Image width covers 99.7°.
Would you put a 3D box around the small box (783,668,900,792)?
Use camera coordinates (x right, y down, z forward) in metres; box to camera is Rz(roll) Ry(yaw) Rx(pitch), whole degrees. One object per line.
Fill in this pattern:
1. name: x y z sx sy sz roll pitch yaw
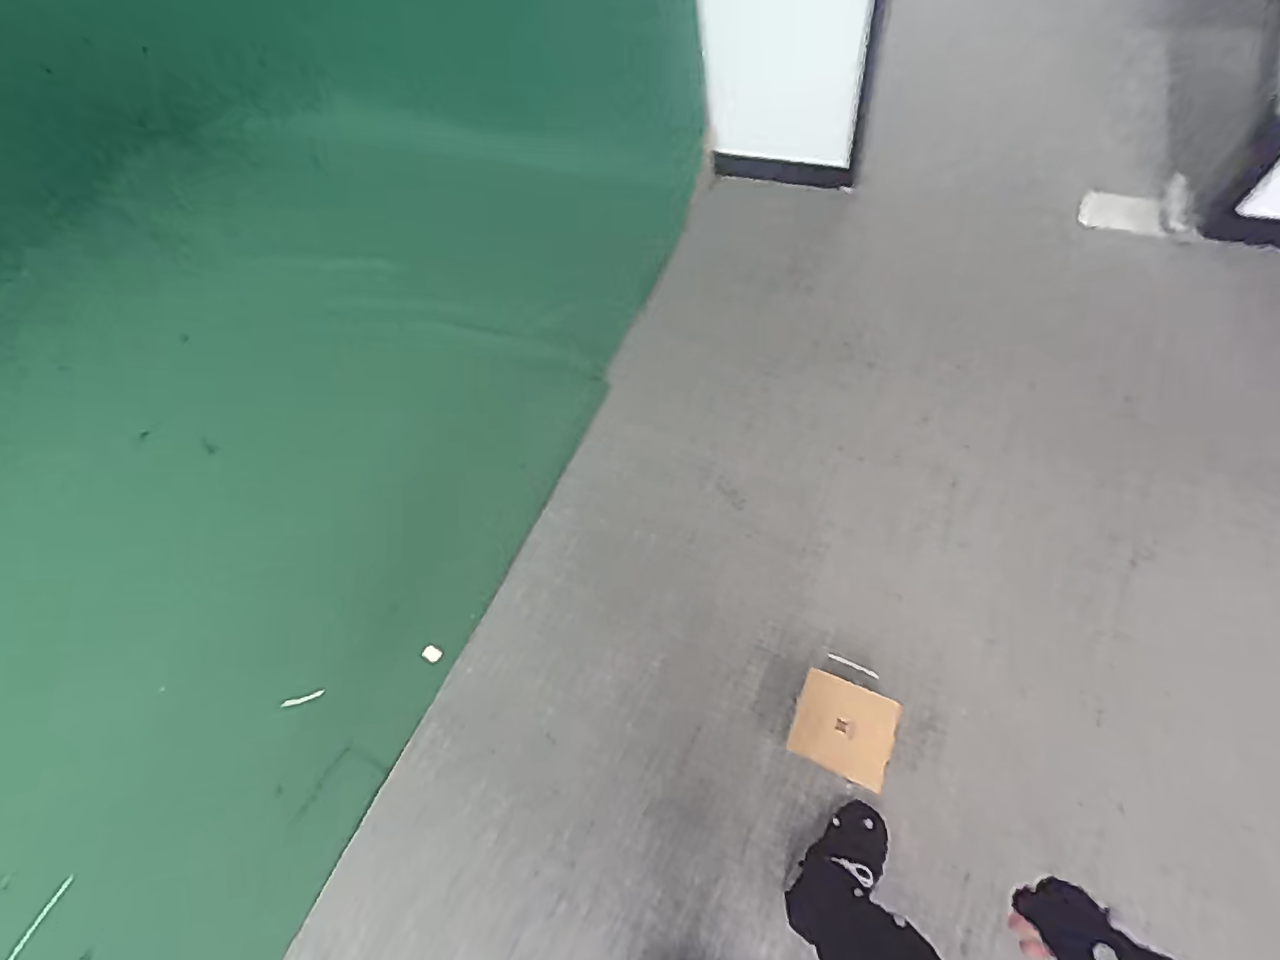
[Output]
1. small box: 0.400 0.501 1.095 0.179 0.176 0.168 17 70 22
